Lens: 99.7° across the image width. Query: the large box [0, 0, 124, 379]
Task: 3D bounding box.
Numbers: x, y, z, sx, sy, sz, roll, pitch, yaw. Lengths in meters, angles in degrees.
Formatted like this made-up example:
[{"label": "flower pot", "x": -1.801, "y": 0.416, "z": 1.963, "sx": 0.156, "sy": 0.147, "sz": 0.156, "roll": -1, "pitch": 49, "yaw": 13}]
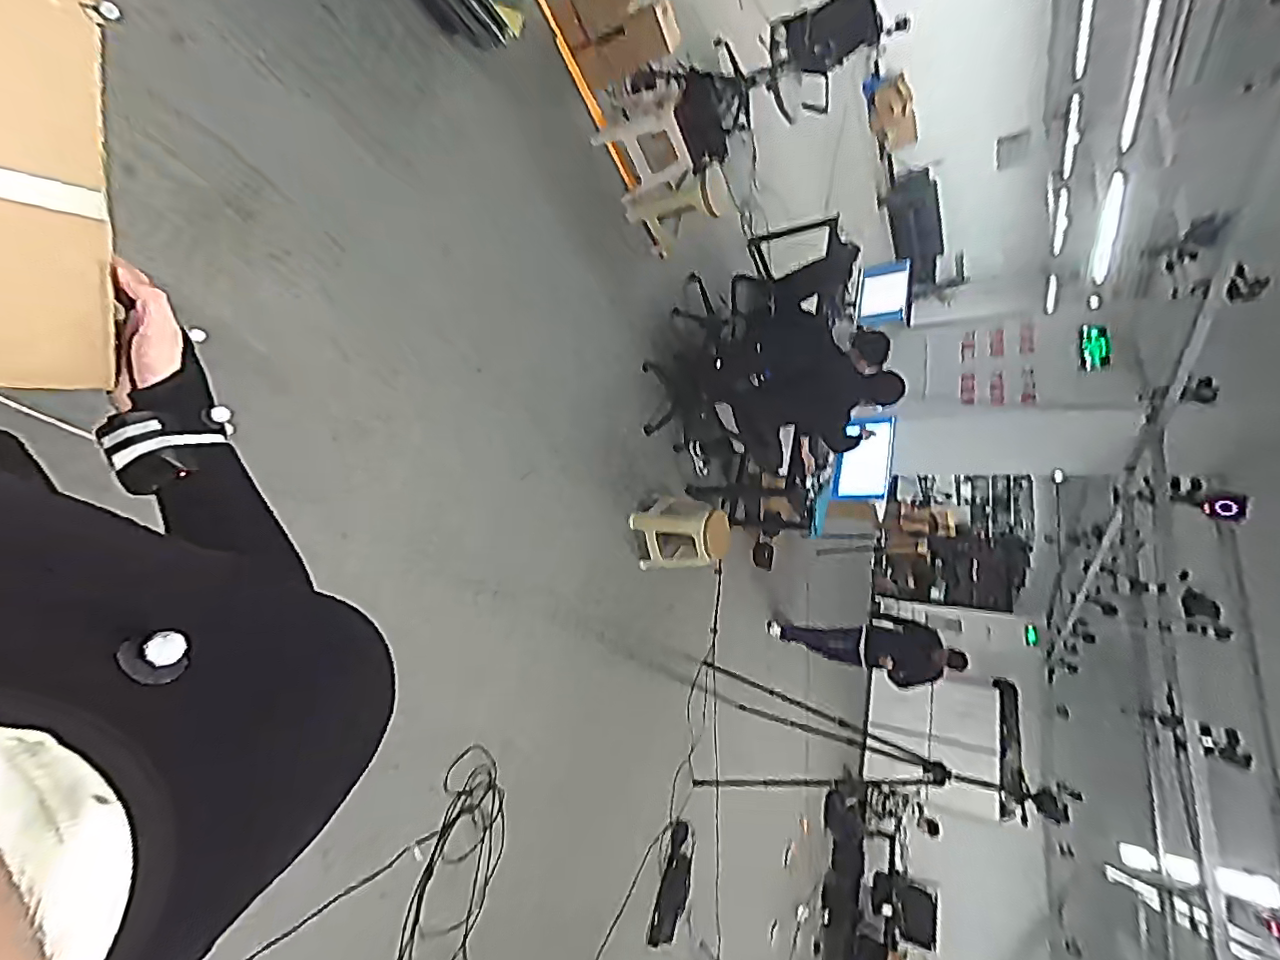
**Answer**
[{"label": "large box", "x": -0.694, "y": -0.254, "z": 0.386, "sx": 0.408, "sy": 0.320, "sz": 0.320, "roll": -11, "pitch": 116, "yaw": -53}]
